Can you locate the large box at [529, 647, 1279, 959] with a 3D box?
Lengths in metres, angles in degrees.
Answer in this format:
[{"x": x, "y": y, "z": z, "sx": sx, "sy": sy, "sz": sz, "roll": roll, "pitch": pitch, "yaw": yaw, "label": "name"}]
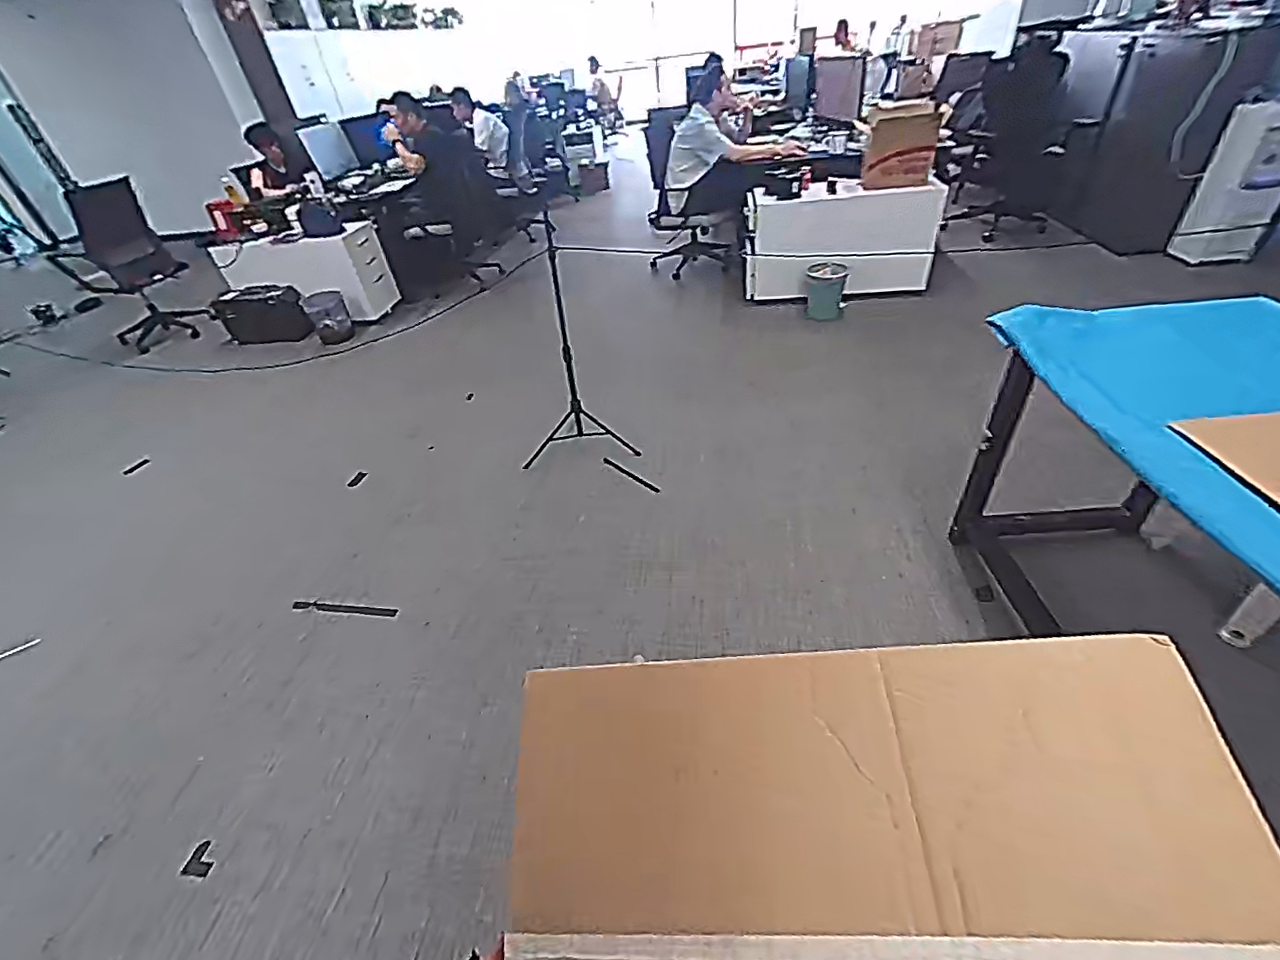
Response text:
[{"x": 0.154, "y": 0.335, "z": 0.417, "sx": 0.408, "sy": 0.320, "sz": 0.320, "roll": -7, "pitch": 61, "yaw": 9, "label": "large box"}]
